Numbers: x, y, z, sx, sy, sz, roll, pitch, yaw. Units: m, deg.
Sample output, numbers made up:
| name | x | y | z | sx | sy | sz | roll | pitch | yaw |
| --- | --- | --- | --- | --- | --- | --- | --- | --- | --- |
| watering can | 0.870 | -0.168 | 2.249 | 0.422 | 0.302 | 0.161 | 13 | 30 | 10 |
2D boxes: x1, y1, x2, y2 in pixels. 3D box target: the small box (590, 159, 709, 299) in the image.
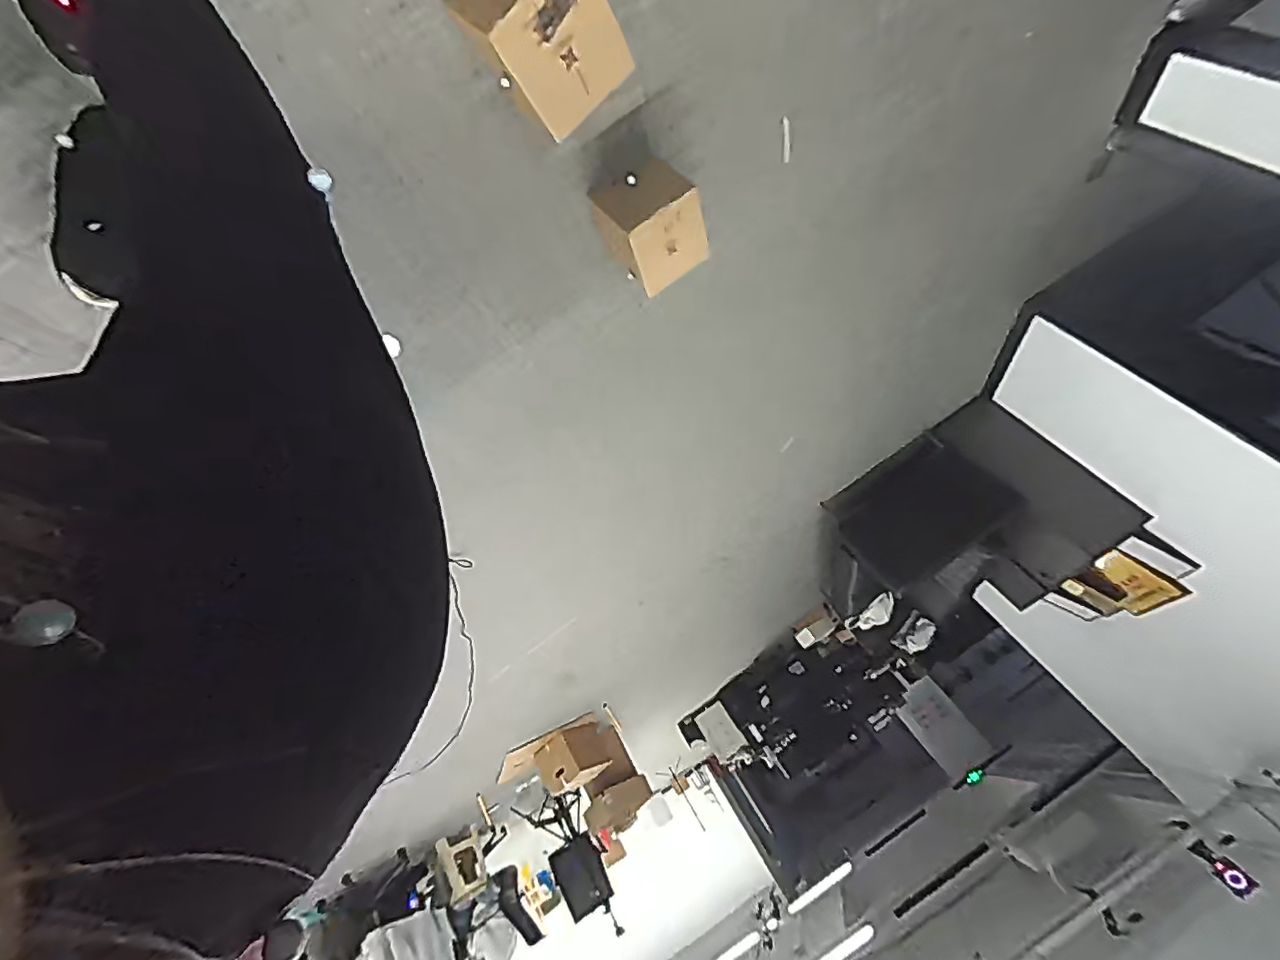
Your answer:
| name | x | y | z | sx | sy | sz | roll | pitch | yaw |
| --- | --- | --- | --- | --- | --- | --- | --- | --- | --- |
| small box | 0.022 | -0.530 | 1.142 | 0.168 | 0.176 | 0.179 | -36 | 149 | -3 |

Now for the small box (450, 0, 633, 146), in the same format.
| name | x | y | z | sx | sy | sz | roll | pitch | yaw |
| --- | --- | --- | --- | --- | --- | --- | --- | --- | --- |
| small box | -0.147 | -0.654 | 0.803 | 0.168 | 0.176 | 0.179 | -42 | 150 | 8 |
